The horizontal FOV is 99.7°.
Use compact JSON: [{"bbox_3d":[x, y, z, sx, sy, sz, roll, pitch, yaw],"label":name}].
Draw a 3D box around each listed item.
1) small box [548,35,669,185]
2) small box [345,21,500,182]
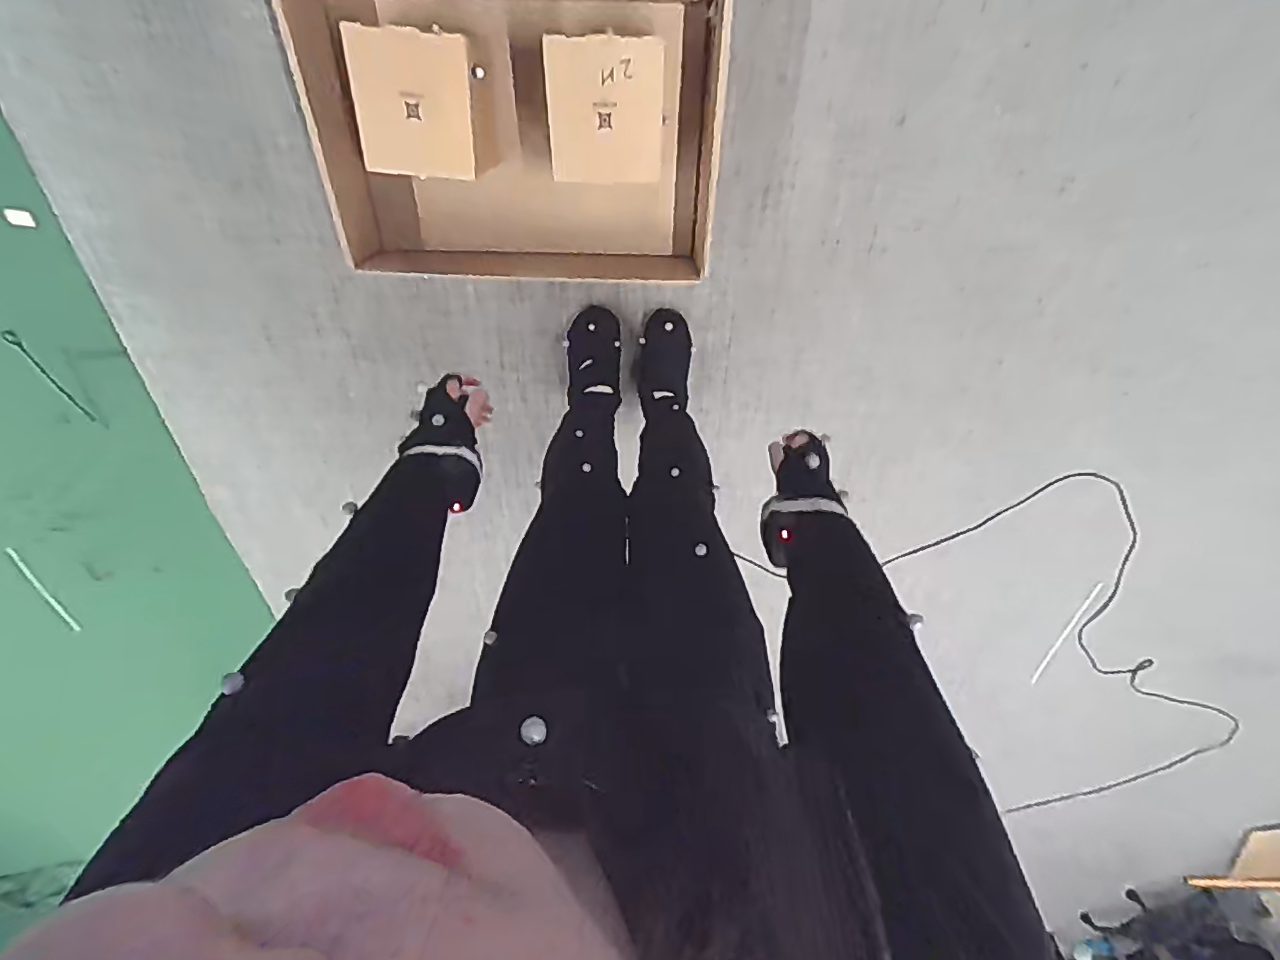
[{"bbox_3d":[-0.042,-0.567,0.831,0.168,0.176,0.179,1,126,0],"label":"small box"},{"bbox_3d":[-0.317,-0.576,0.831,0.168,0.176,0.179,4,125,-3],"label":"small box"}]
